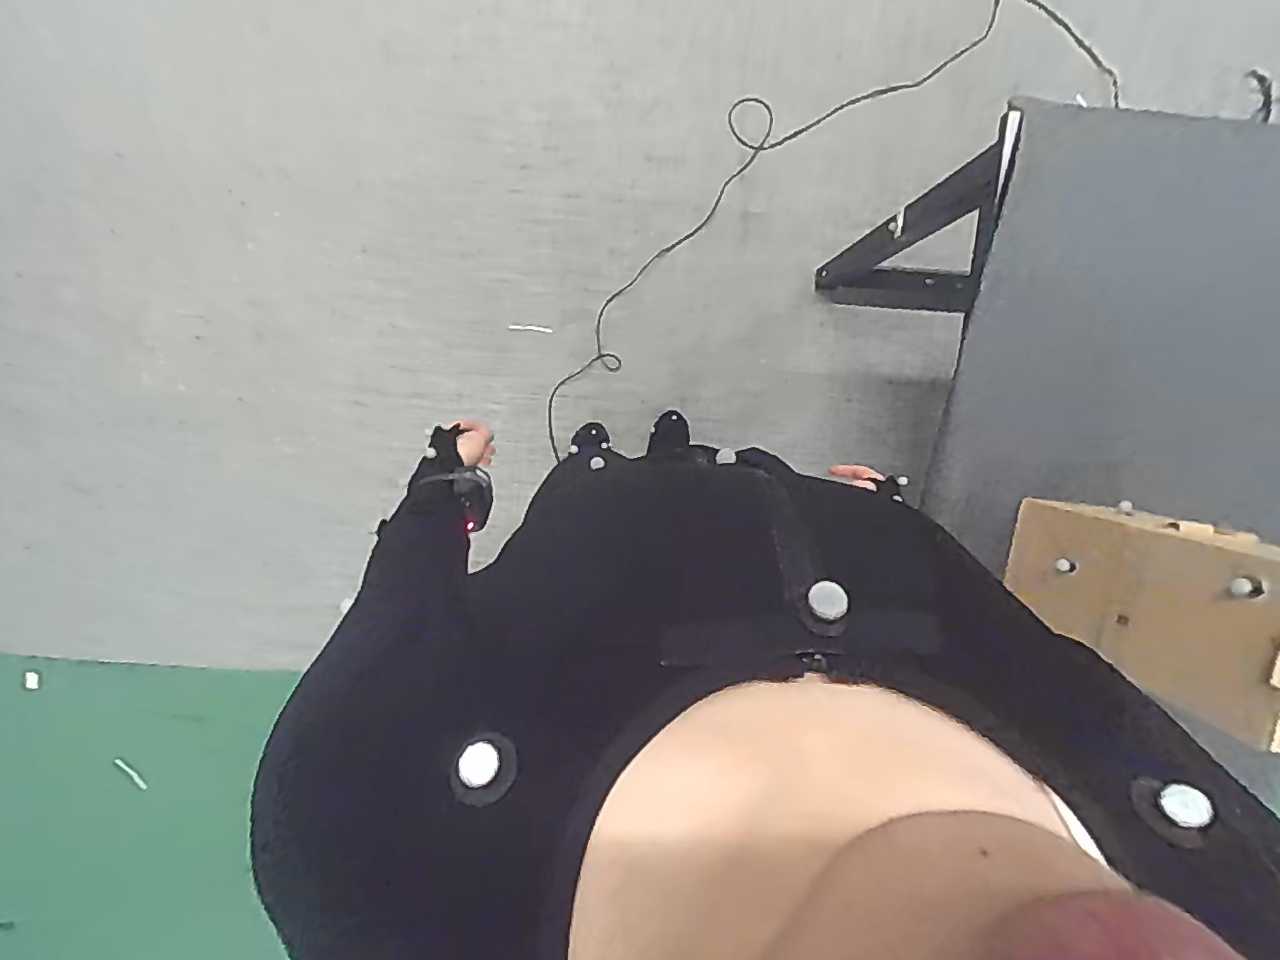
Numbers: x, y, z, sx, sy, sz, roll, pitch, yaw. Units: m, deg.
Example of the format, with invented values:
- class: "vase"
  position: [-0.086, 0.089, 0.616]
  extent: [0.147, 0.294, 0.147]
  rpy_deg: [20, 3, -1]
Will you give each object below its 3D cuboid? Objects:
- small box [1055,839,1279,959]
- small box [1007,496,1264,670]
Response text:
- class: "small box"
  position: [0.596, 0.531, 0.584]
  extent: [0.168, 0.176, 0.179]
  rpy_deg: [2, 96, -6]
- class: "small box"
  position: [0.617, 0.121, 0.698]
  extent: [0.168, 0.176, 0.179]
  rpy_deg: [6, 96, -4]
